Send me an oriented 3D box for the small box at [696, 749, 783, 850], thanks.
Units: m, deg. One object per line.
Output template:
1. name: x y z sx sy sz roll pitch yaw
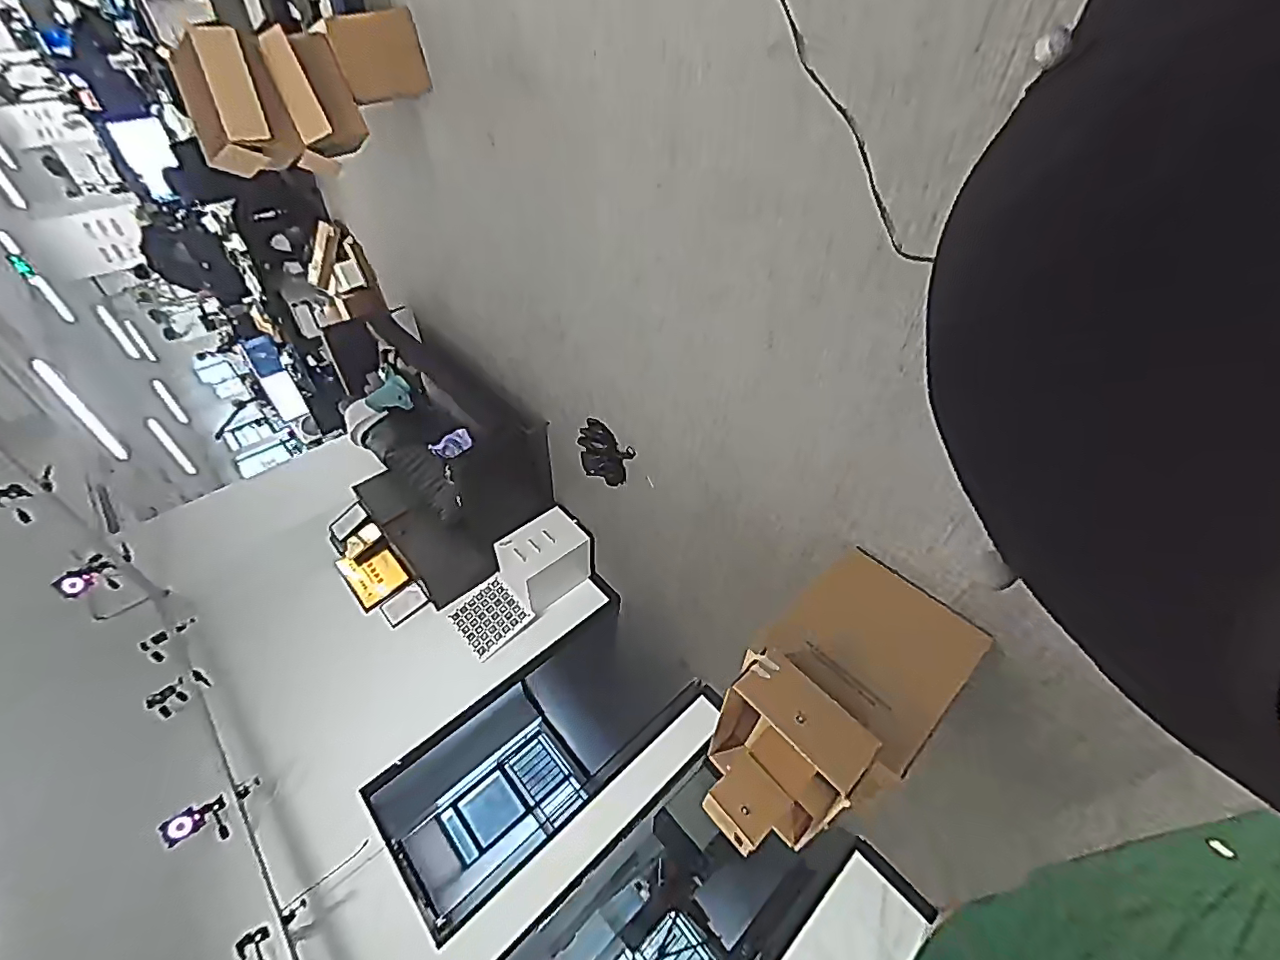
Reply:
1. small box: 0.289 0.928 1.578 0.179 0.176 0.168 42 149 29

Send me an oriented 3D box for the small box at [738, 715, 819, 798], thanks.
1. small box: 0.413 0.853 1.657 0.179 0.176 0.168 40 149 32
